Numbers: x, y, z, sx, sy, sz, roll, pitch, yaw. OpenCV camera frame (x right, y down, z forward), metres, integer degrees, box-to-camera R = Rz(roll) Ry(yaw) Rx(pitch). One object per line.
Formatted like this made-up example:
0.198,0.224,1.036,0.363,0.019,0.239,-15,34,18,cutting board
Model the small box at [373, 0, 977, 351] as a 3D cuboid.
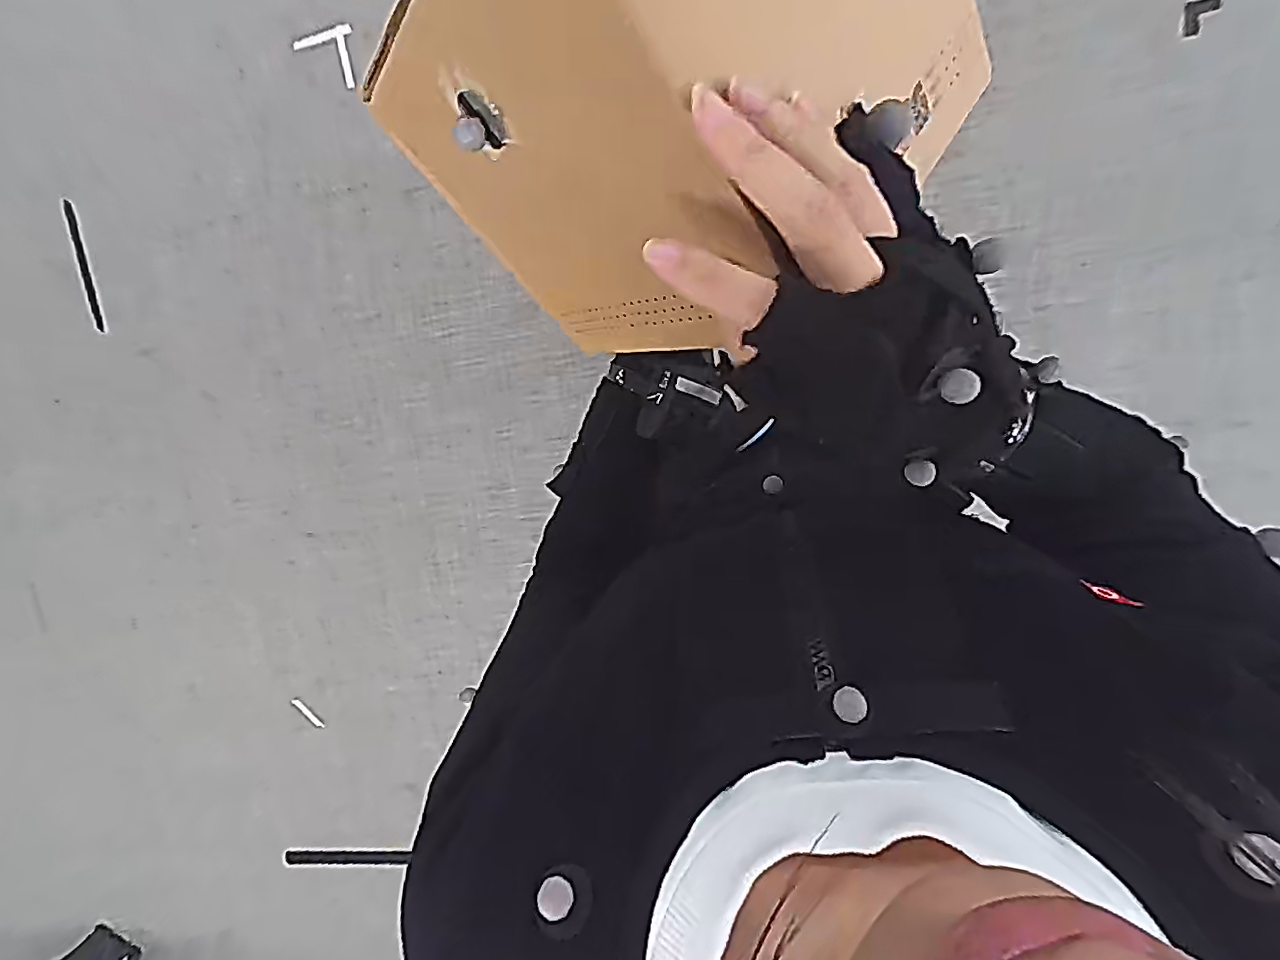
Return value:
0.015,-0.175,0.251,0.176,0.179,0.168,44,74,-33,small box
